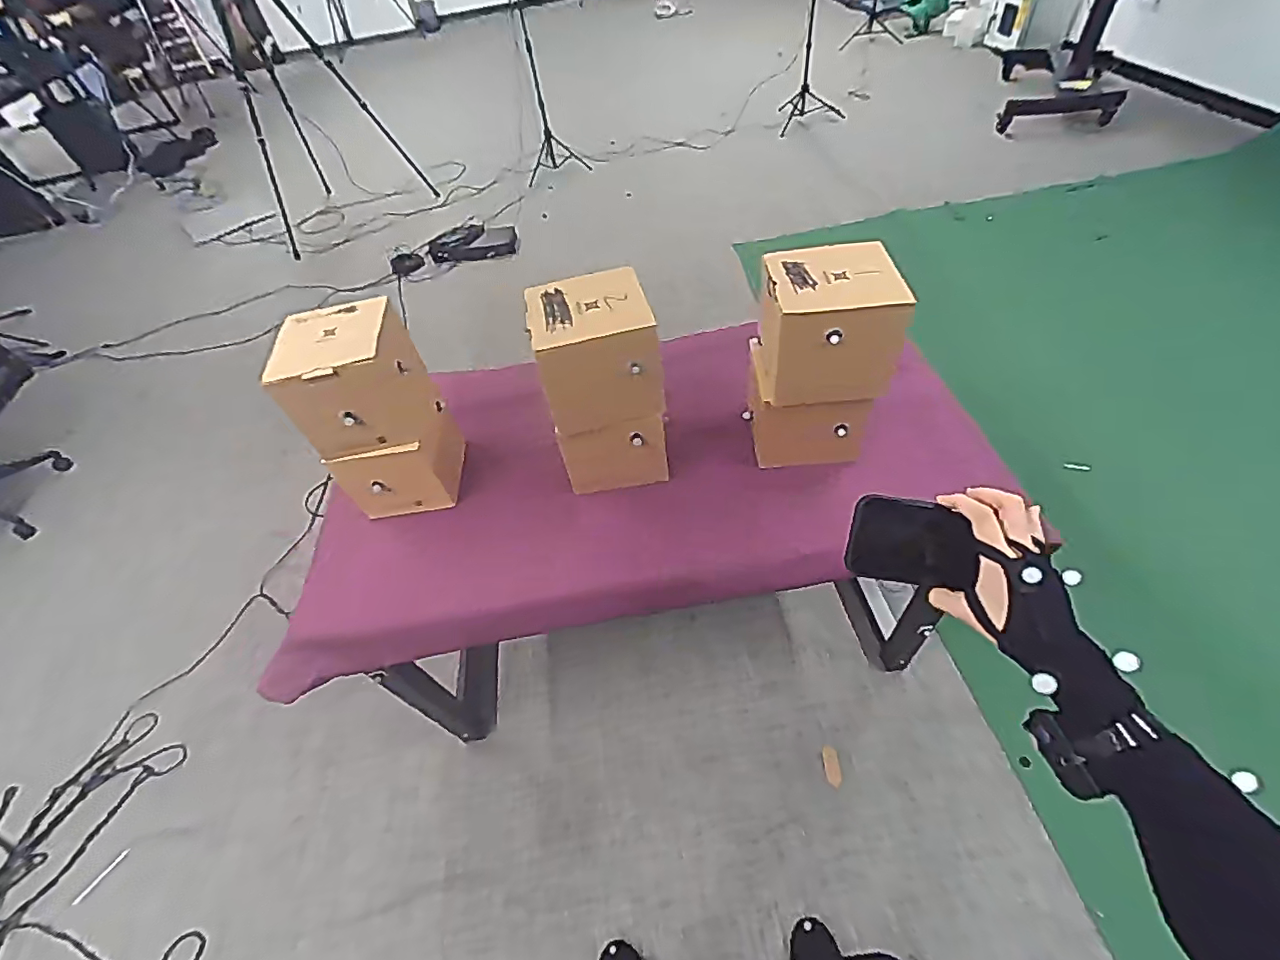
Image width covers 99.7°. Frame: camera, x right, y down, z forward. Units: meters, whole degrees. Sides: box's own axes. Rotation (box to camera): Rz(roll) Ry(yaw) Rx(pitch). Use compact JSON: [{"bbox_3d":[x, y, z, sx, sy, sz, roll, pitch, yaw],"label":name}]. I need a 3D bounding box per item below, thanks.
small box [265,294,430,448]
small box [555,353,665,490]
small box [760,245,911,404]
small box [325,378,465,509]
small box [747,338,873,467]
[{"bbox_3d":[-0.457,-0.169,0.879,0.168,0.176,0.179,-11,51,-2],"label":"small box"},{"bbox_3d":[-0.049,-0.101,0.976,0.179,0.176,0.168,-8,50,2],"label":"small box"},{"bbox_3d":[0.280,-0.231,0.823,0.179,0.176,0.168,-3,50,5],"label":"small box"},{"bbox_3d":[-0.438,-0.060,1.001,0.168,0.176,0.179,-8,50,2],"label":"small box"},{"bbox_3d":[0.289,-0.139,0.959,0.179,0.176,0.168,-4,50,6],"label":"small box"}]
